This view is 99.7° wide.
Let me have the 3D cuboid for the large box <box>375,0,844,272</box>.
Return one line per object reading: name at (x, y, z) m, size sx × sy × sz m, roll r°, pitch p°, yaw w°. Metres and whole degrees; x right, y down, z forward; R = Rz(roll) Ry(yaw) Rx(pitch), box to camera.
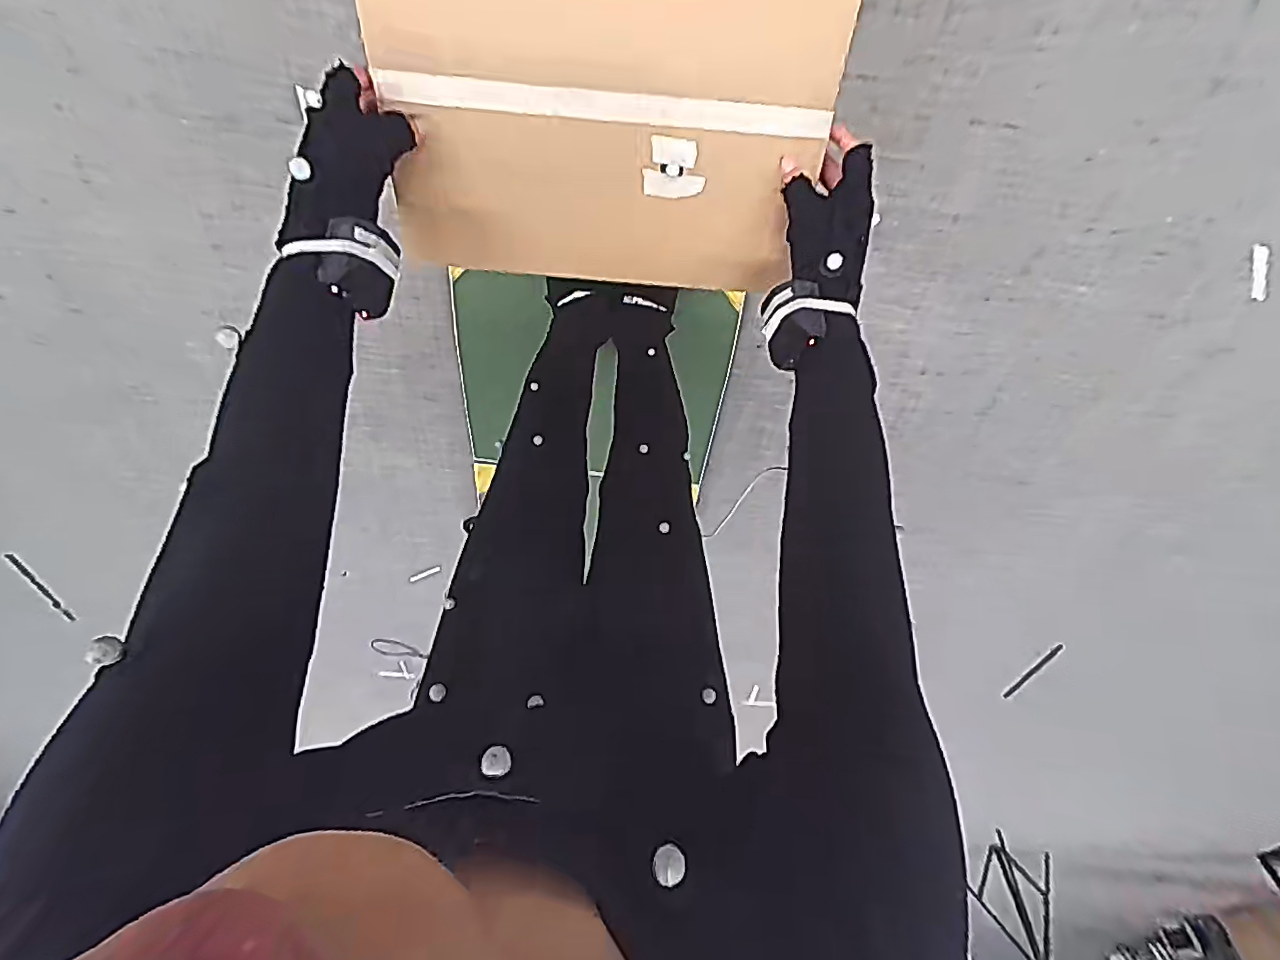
large box at (-0.031, -0.452, 0.610) m, size 0.408 × 0.320 × 0.320 m, roll 3°, pitch 131°, yaw -2°
